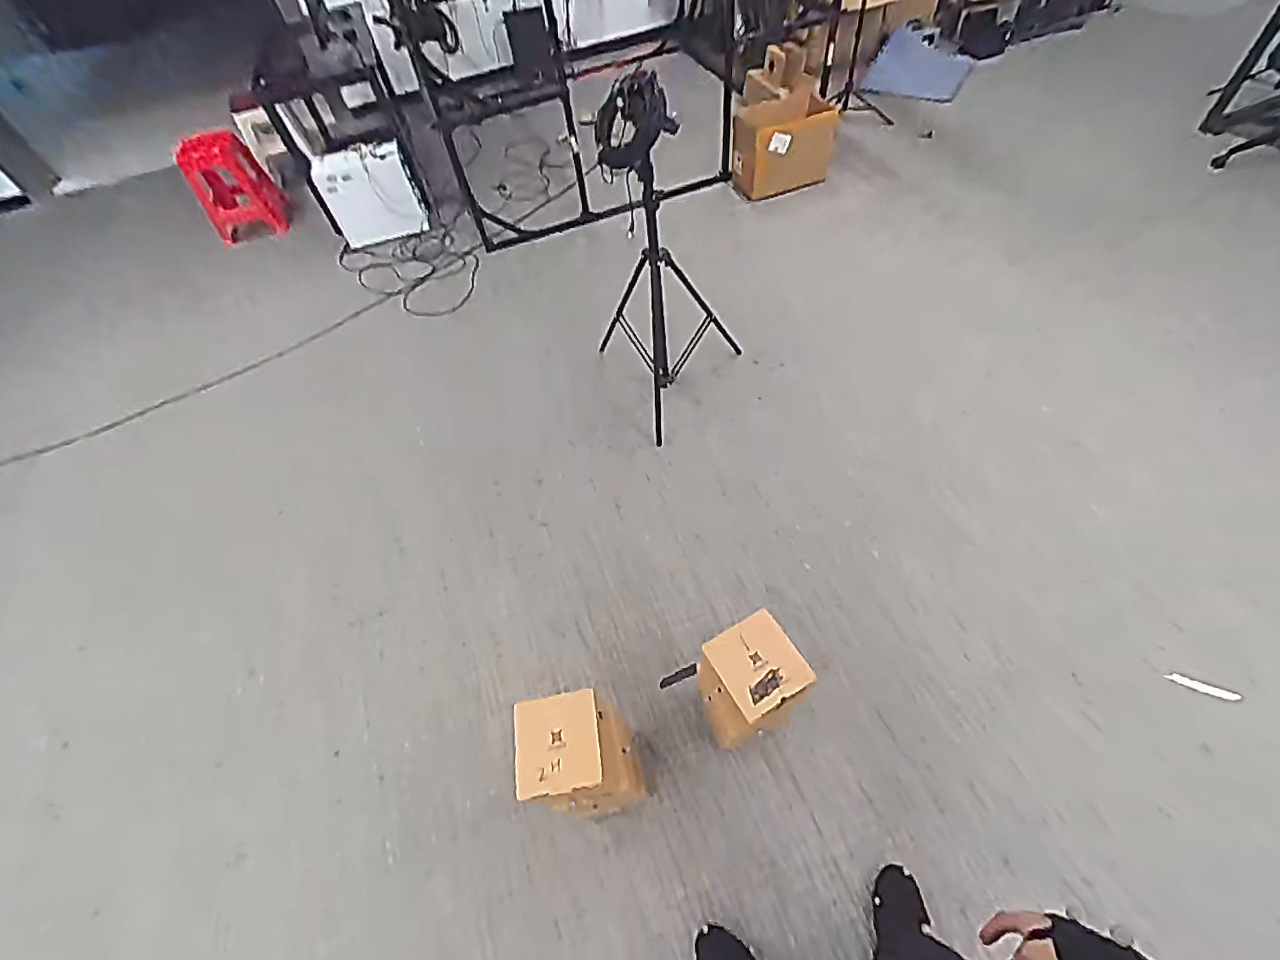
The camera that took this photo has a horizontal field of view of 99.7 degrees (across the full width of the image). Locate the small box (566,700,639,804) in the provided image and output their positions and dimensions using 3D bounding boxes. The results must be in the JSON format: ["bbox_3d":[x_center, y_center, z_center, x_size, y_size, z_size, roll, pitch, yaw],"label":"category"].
[{"bbox_3d":[-0.110,0.675,1.336,0.168,0.176,0.179,-19,55,-5],"label":"small box"}]

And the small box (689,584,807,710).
[{"bbox_3d":[0.216,0.353,1.117,0.168,0.176,0.179,-28,57,-12],"label":"small box"}]

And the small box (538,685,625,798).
[{"bbox_3d":[-0.138,0.585,1.205,0.168,0.176,0.179,-17,56,-3],"label":"small box"}]

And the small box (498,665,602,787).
[{"bbox_3d":[-0.175,0.491,1.074,0.168,0.176,0.179,-12,56,0],"label":"small box"}]

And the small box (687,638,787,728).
[{"bbox_3d":[0.217,0.446,1.254,0.168,0.176,0.179,-21,55,-8],"label":"small box"}]
